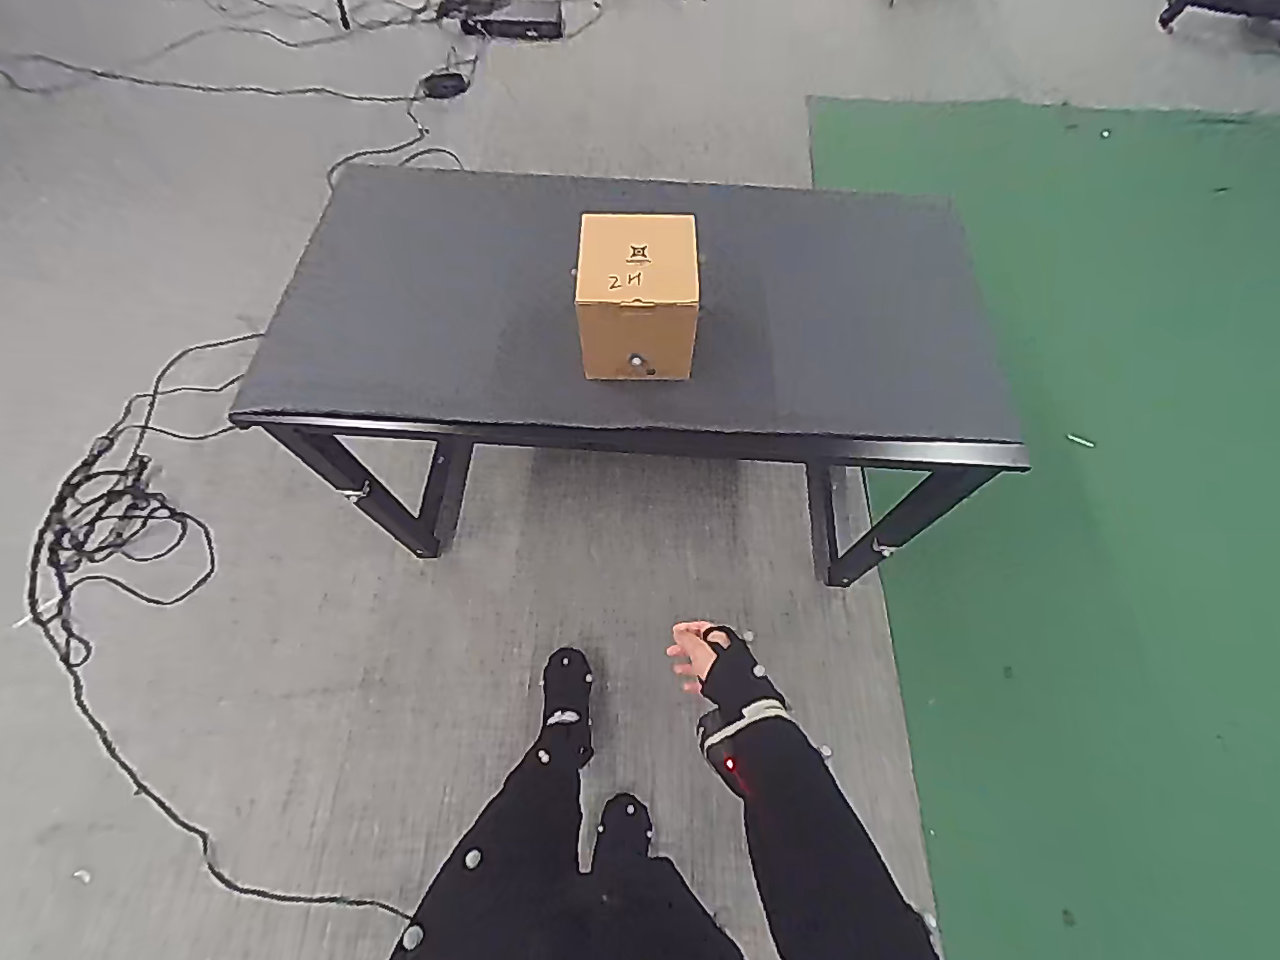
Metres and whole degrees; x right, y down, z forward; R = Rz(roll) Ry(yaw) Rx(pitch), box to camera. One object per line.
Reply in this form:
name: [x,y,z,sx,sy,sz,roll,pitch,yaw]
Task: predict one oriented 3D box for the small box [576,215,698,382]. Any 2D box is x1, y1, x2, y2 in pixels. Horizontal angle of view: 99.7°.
small box: [-0.005,-0.272,0.821,0.168,0.176,0.179,1,62,0]
